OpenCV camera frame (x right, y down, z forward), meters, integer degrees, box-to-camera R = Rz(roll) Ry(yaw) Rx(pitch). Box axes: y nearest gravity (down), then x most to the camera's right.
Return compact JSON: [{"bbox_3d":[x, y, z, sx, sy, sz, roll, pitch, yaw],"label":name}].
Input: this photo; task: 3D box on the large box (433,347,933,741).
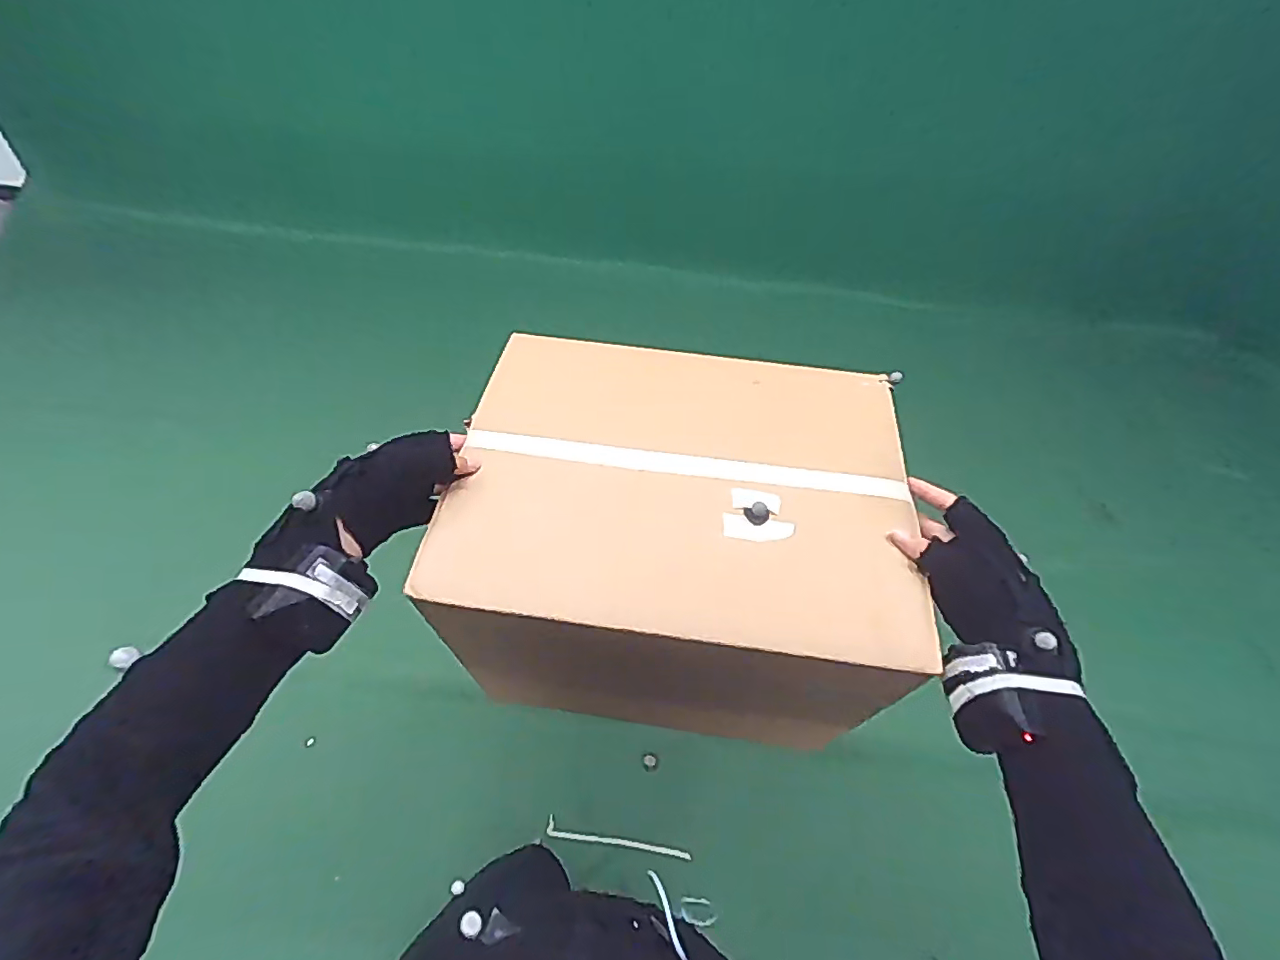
[{"bbox_3d":[0.040,0.082,0.627,0.408,0.320,0.320,8,54,3],"label":"large box"}]
